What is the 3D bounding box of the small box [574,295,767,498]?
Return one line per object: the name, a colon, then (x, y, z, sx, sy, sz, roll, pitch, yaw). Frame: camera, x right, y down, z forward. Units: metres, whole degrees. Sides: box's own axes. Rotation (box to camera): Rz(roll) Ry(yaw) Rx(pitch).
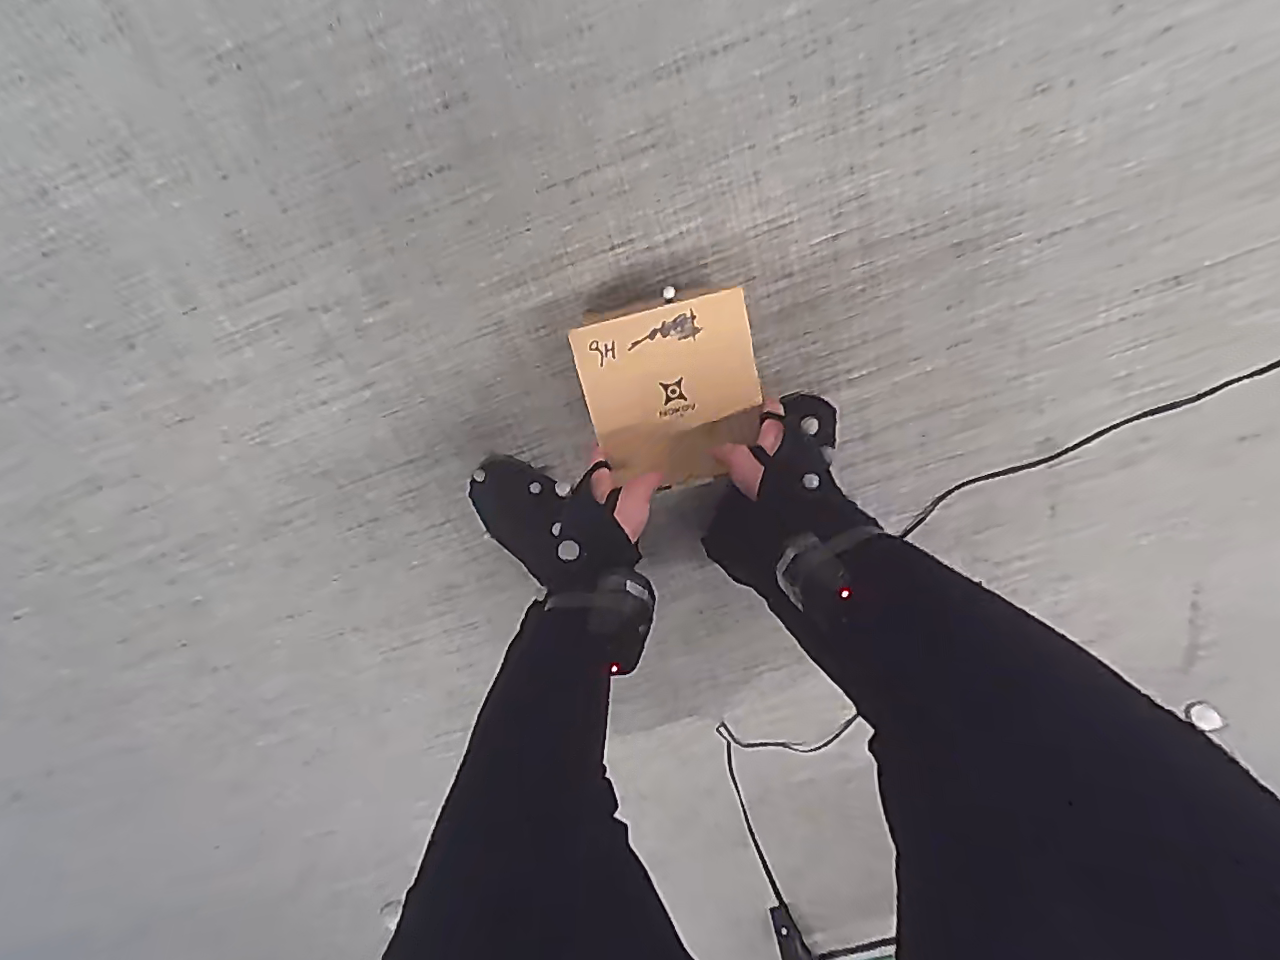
small box: (0.034, -0.101, 0.604, 0.168, 0.176, 0.179, -12, 108, 3)
